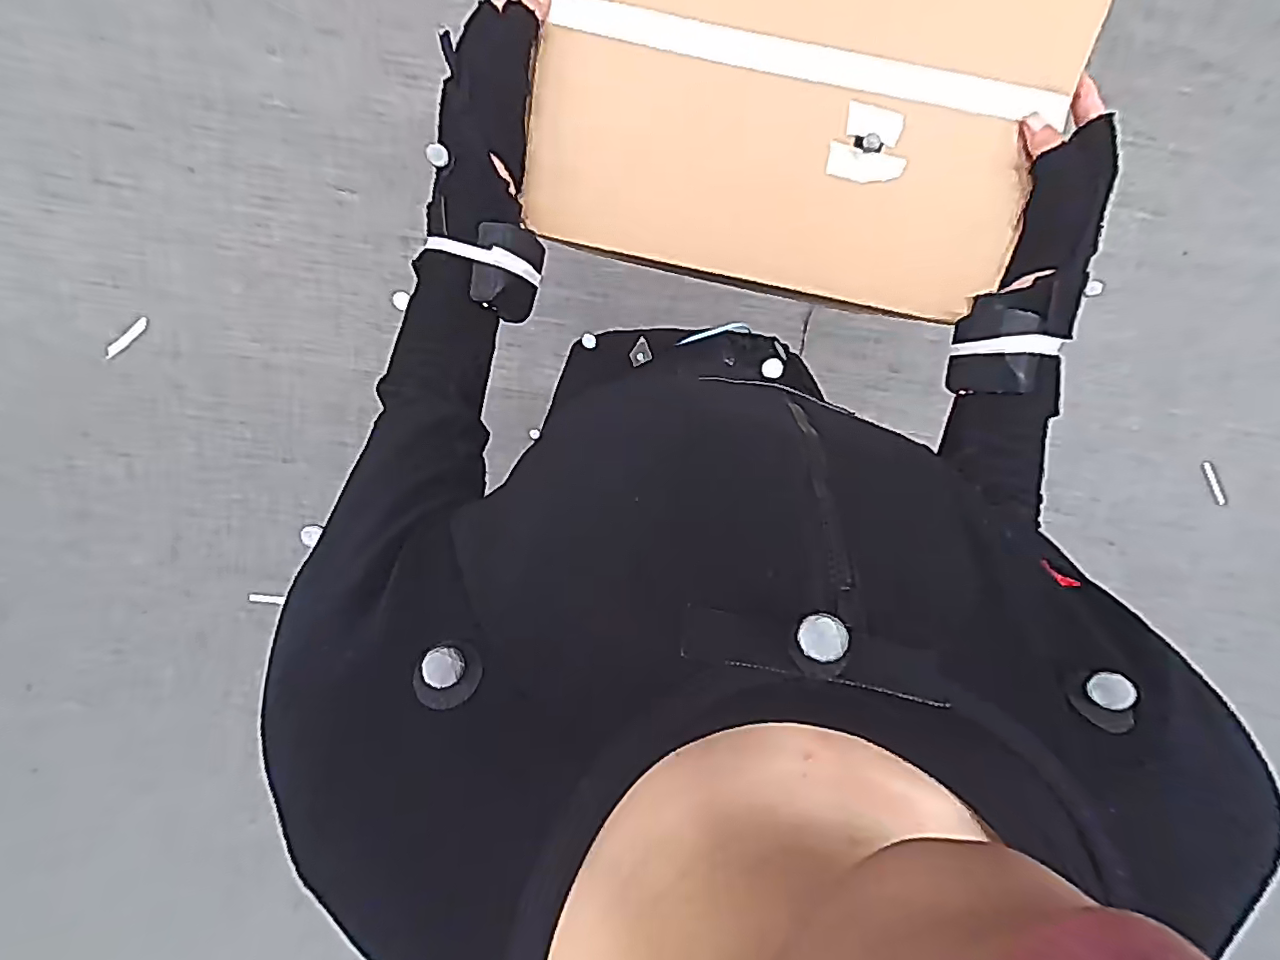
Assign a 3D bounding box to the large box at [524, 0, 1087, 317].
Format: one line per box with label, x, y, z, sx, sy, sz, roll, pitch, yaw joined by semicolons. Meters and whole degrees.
large box;0.126;-0.370;0.562;0.408;0.320;0.320;12;111;0
